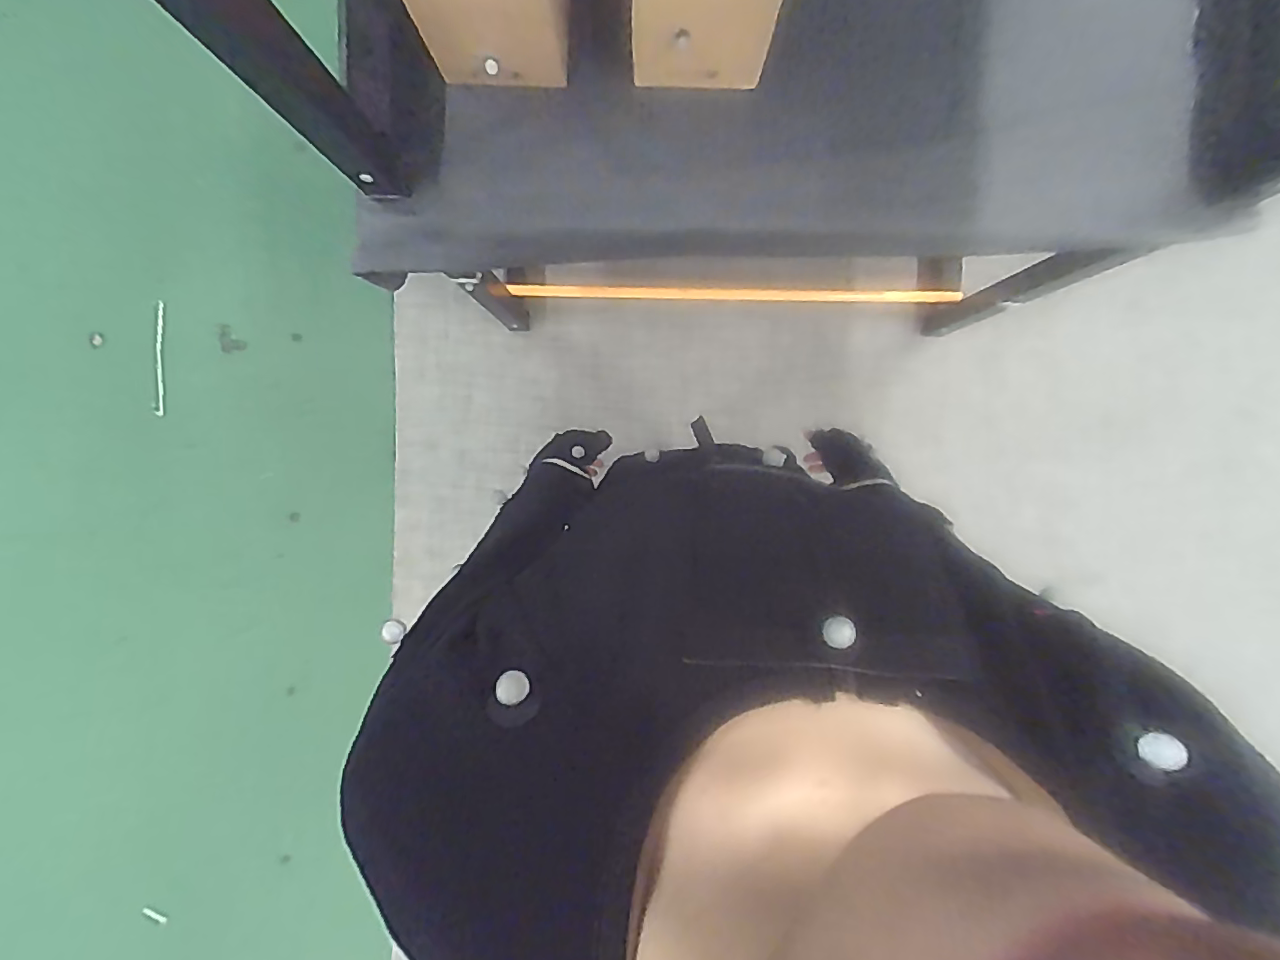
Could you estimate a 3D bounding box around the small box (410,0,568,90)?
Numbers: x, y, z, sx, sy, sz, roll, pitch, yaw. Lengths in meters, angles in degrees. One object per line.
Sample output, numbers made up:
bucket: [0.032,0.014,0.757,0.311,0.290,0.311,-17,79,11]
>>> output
small box: [-0.181,-0.616,0.649,0.168,0.176,0.179,2,93,1]

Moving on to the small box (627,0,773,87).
small box: [0.072,-0.611,0.648,0.168,0.176,0.179,2,92,1]
